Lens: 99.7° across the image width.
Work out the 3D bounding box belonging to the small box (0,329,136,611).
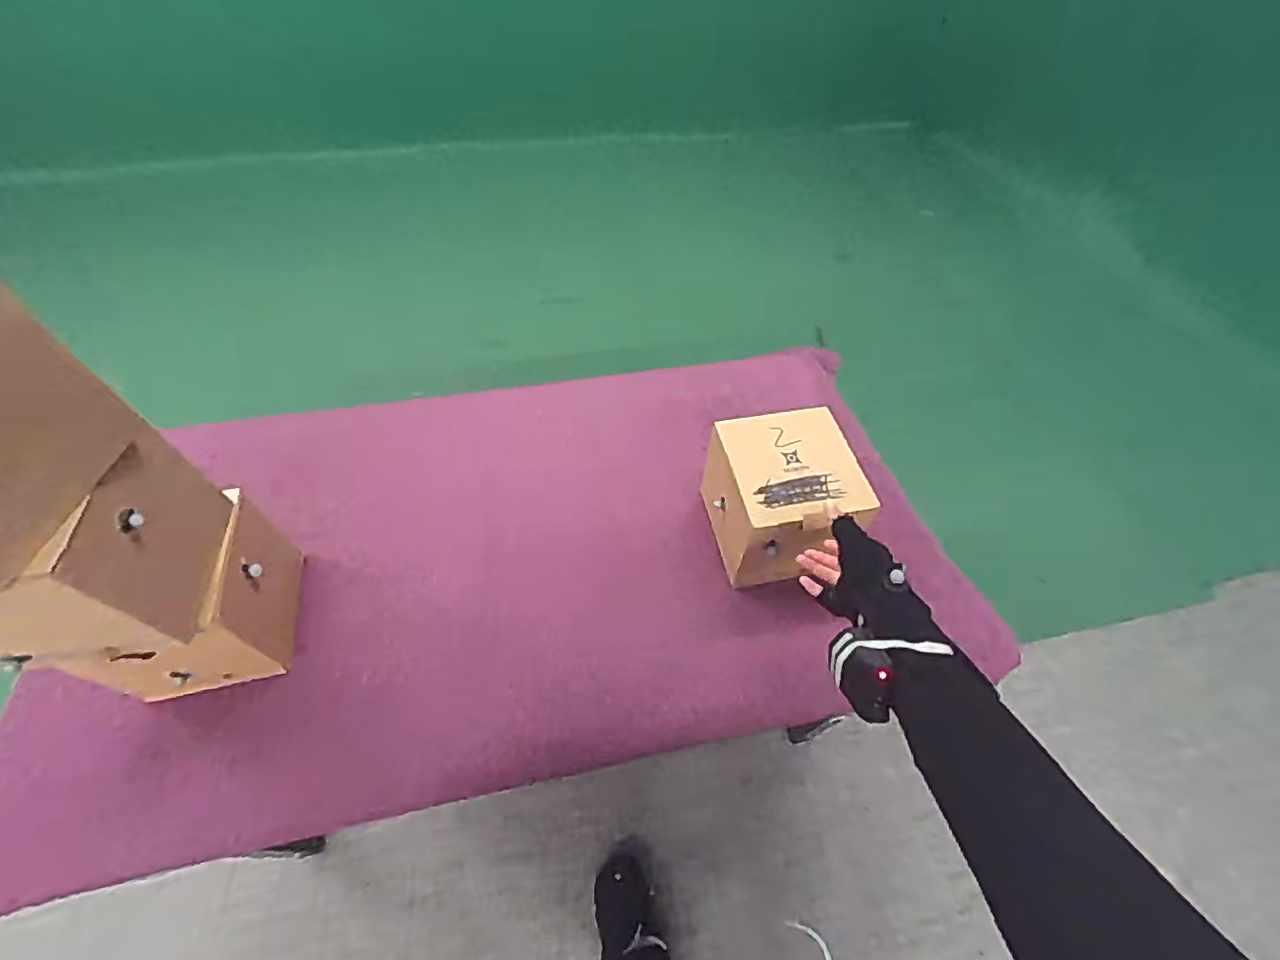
[{"bbox_3d":[-0.531,-0.020,0.381,0.168,0.176,0.179,8,57,2],"label":"small box"}]

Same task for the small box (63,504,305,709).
[{"bbox_3d":[-0.536,0.156,0.659,0.168,0.176,0.179,-10,57,-10],"label":"small box"}]

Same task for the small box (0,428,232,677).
[{"bbox_3d":[-0.537,0.076,0.515,0.168,0.176,0.179,-6,55,-7],"label":"small box"}]
